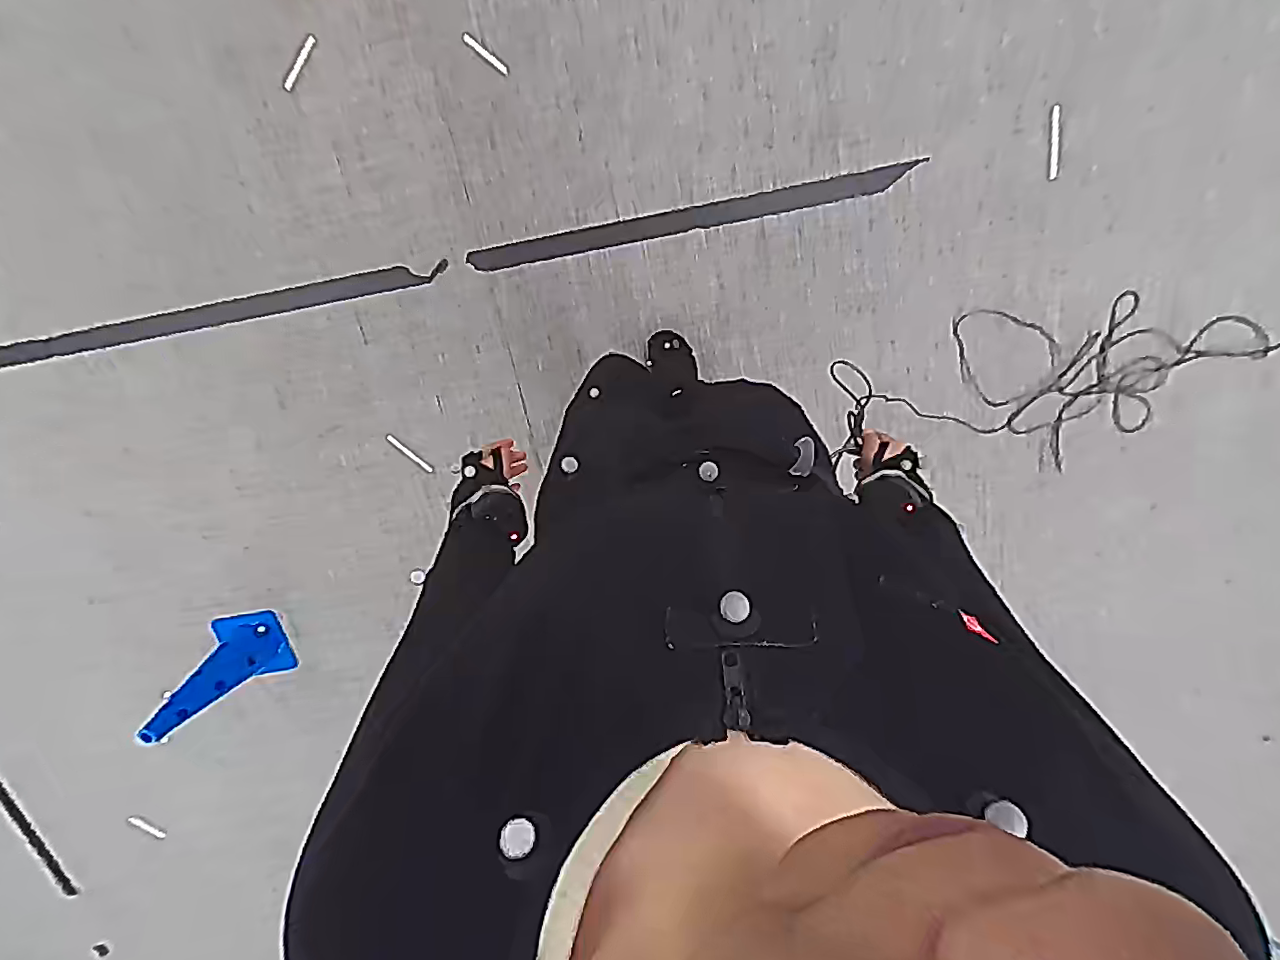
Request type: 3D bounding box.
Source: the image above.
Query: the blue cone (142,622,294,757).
[{"bbox_3d":[-1.115,0.549,1.401,0.193,0.380,0.192,-10,108,4],"label":"blue cone"}]
